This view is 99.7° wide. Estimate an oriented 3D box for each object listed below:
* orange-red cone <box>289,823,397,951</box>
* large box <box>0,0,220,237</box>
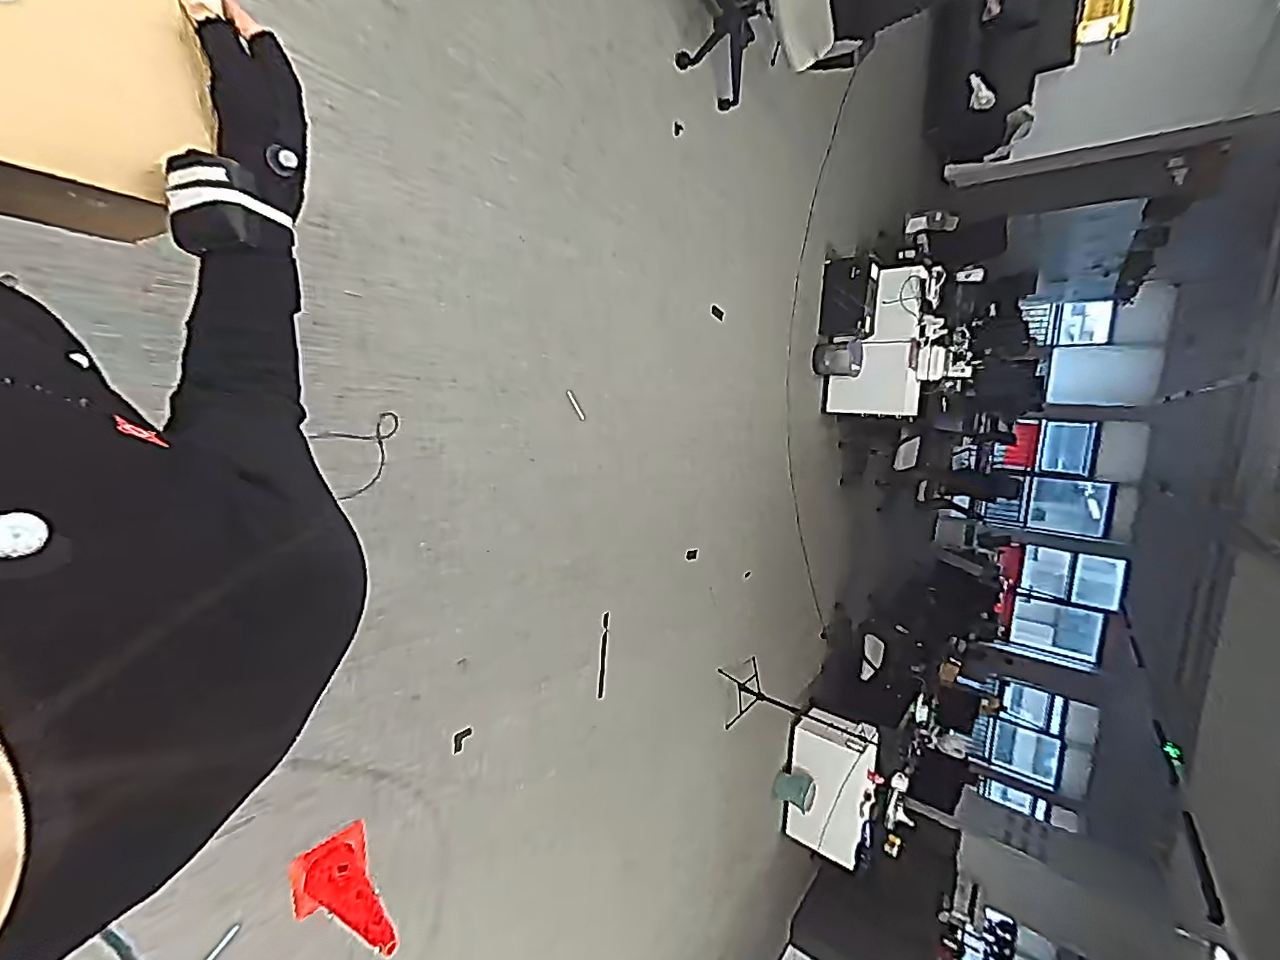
[{"bbox_3d":[-0.765,1.140,1.456,0.198,0.360,0.199,-11,104,-52],"label":"orange-red cone"},{"bbox_3d":[-0.570,-0.384,0.351,0.408,0.320,0.320,-5,106,-53],"label":"large box"}]
